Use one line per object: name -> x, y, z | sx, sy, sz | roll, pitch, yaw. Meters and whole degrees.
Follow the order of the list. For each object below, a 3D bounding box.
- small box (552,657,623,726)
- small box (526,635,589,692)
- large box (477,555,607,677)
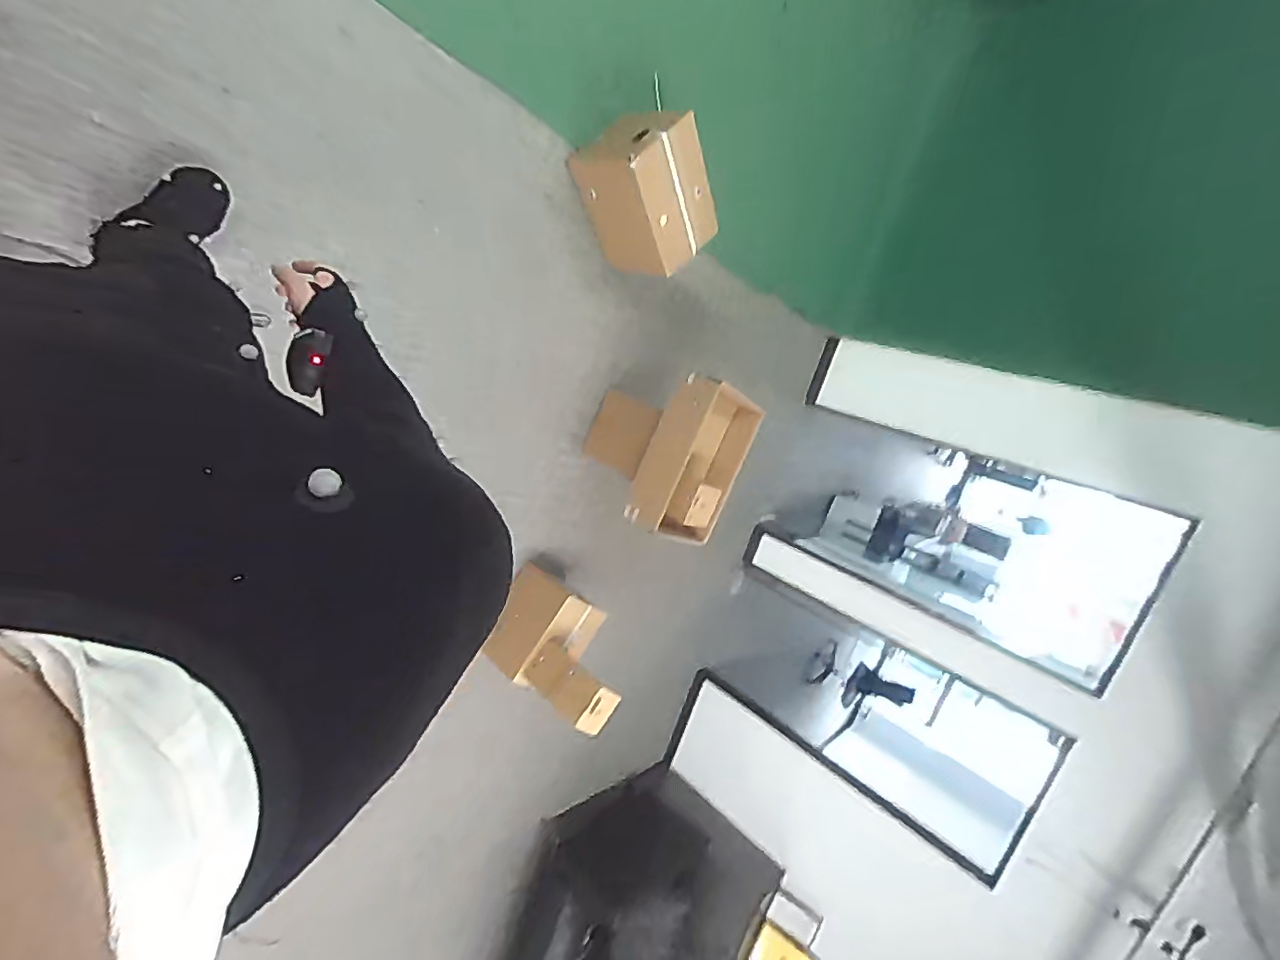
small box -> -0.203, 0.800, 2.058 | 0.168, 0.176, 0.179 | -53, 142, -14
small box -> -0.318, 0.747, 2.162 | 0.168, 0.176, 0.179 | -53, 140, -14
large box -> -0.426, 0.602, 2.354 | 0.408, 0.320, 0.320 | -57, 143, -9
